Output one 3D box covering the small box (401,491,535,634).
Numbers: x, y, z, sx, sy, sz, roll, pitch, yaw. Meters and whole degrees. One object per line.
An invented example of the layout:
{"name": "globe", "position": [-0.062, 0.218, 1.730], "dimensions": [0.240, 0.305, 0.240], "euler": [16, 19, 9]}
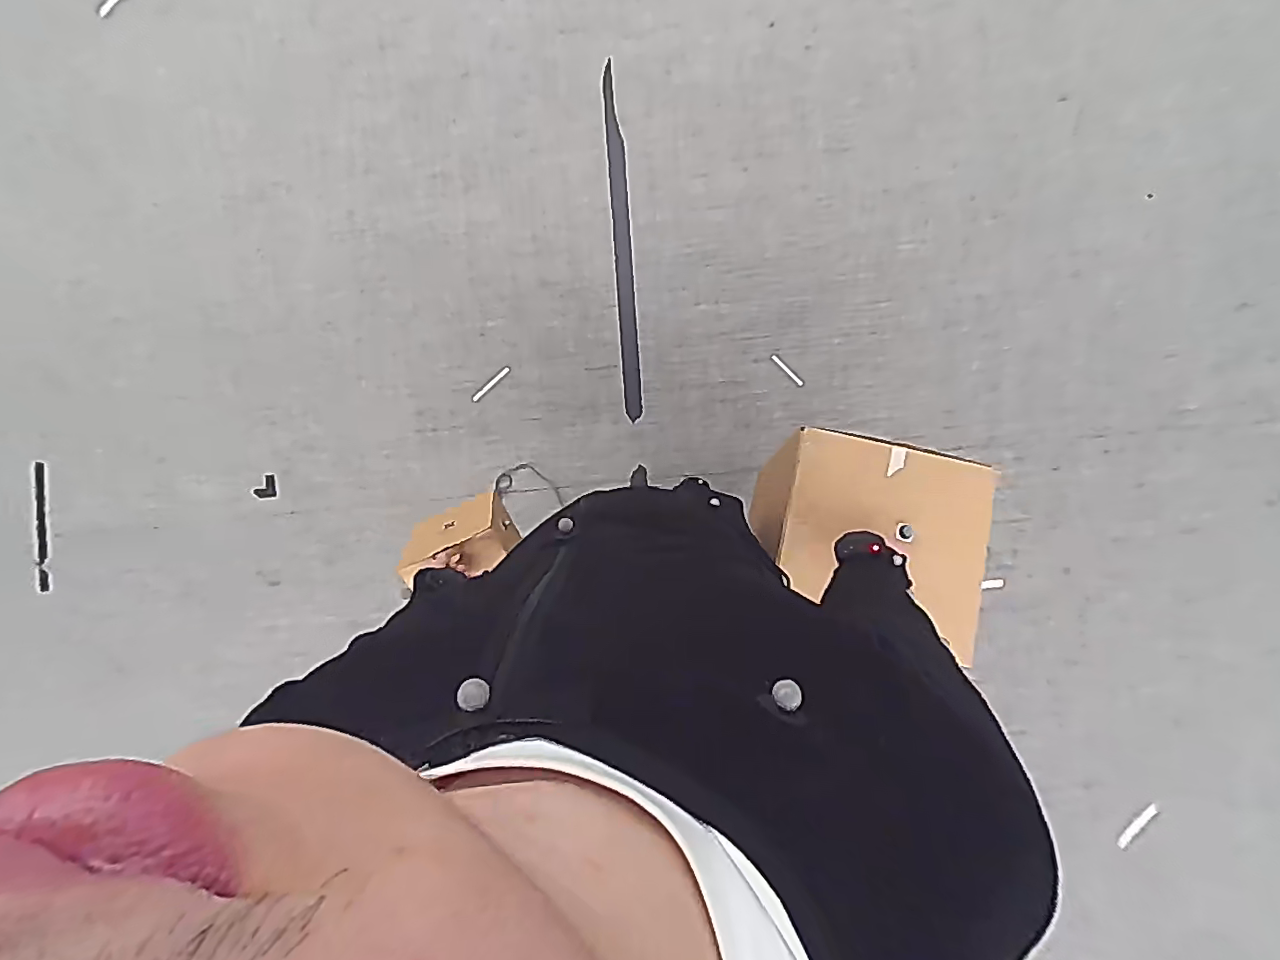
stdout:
{"name": "small box", "position": [-0.300, 0.153, 0.979], "dimensions": [0.168, 0.179, 0.176], "euler": [-25, 115, -3]}
